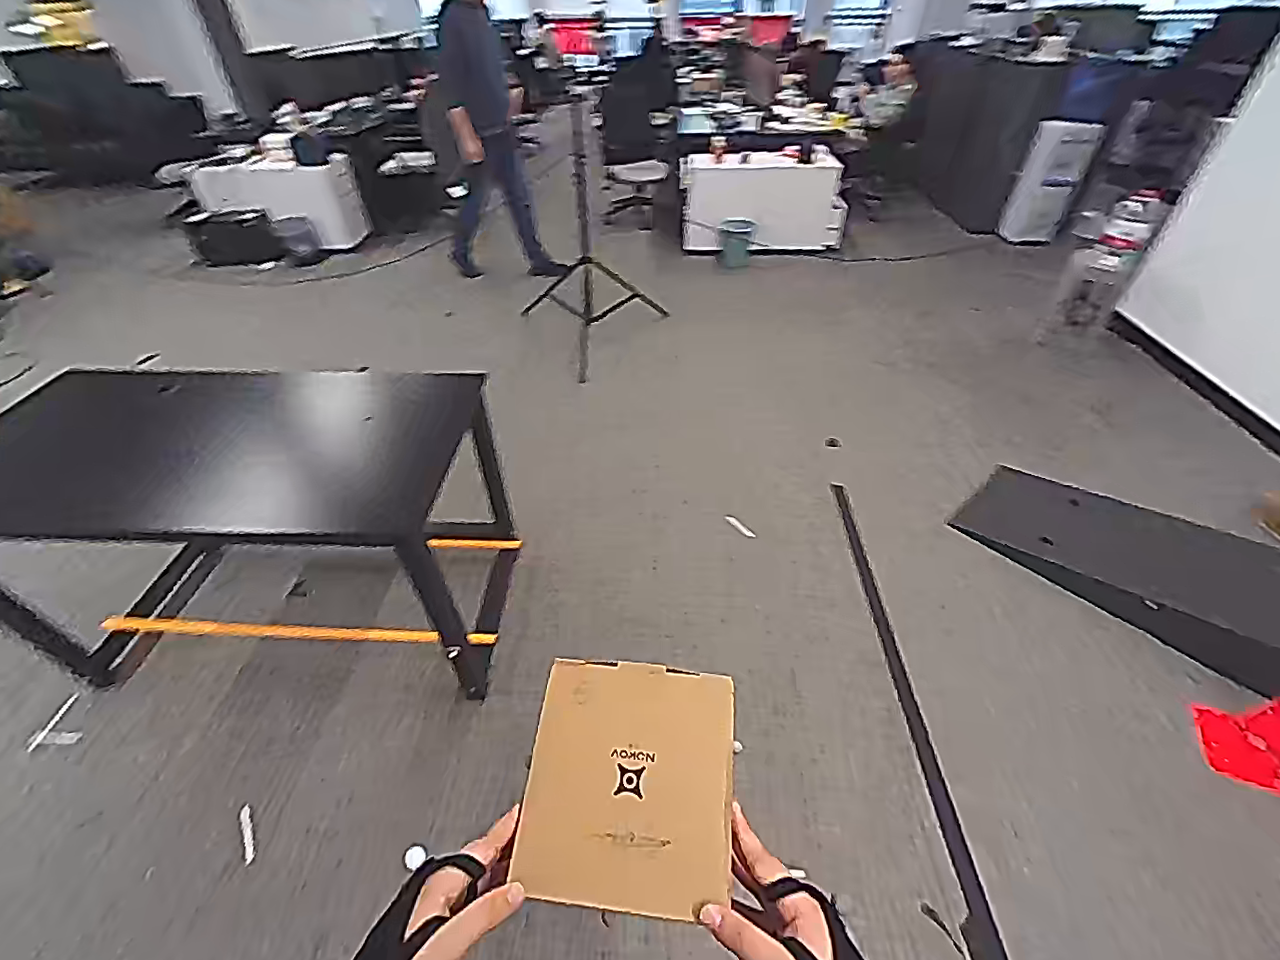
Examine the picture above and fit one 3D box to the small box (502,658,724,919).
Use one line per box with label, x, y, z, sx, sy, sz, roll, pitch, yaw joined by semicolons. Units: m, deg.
small box;-0.012;0.286;0.508;0.168;0.176;0.179;3;55;5
